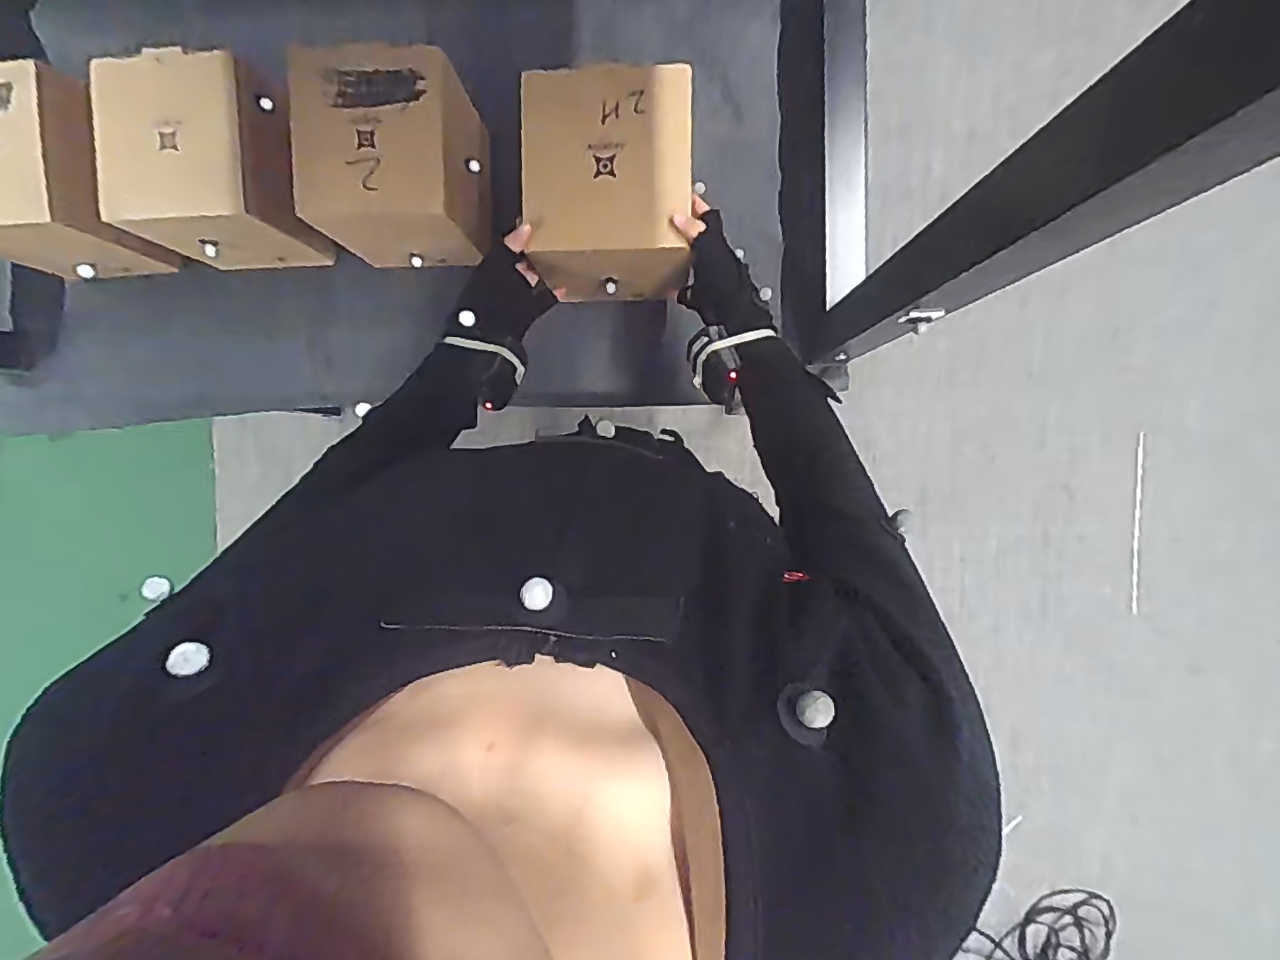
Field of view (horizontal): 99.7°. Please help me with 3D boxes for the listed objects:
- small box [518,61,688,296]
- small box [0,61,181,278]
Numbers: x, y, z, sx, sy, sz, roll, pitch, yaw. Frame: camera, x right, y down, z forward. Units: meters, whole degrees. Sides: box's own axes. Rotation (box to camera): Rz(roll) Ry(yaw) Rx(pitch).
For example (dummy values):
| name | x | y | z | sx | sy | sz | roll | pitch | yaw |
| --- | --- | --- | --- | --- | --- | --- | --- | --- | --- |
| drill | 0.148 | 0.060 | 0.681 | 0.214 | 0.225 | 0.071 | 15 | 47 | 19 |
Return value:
| name | x | y | z | sx | sy | sz | roll | pitch | yaw |
| --- | --- | --- | --- | --- | --- | --- | --- | --- | --- |
| small box | -0.031 | -0.311 | 0.597 | 0.168 | 0.176 | 0.179 | 0 | 91 | 3 |
| small box | -0.724 | -0.370 | 0.673 | 0.168 | 0.176 | 0.179 | -3 | 93 | 3 |
